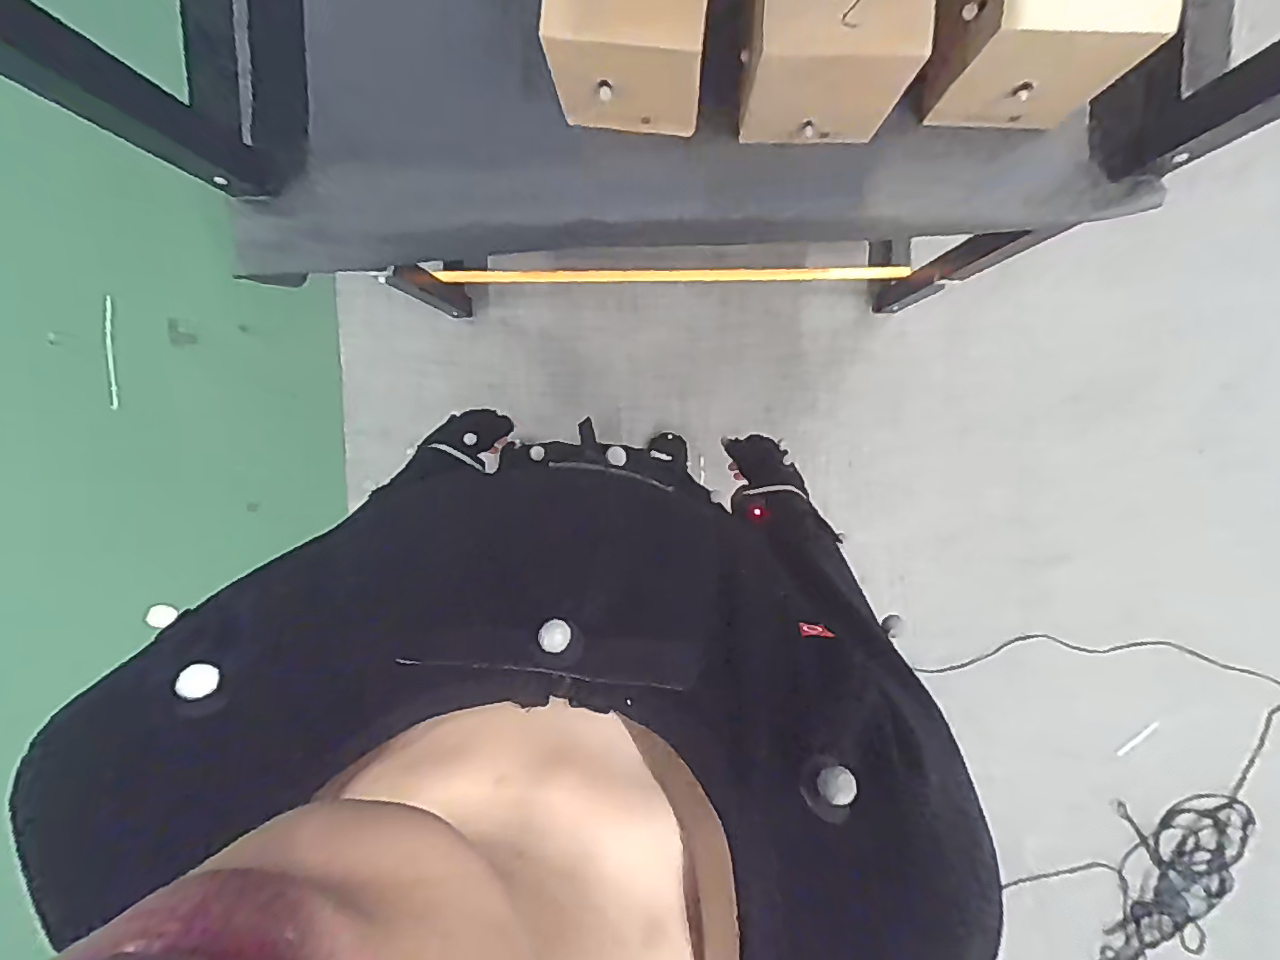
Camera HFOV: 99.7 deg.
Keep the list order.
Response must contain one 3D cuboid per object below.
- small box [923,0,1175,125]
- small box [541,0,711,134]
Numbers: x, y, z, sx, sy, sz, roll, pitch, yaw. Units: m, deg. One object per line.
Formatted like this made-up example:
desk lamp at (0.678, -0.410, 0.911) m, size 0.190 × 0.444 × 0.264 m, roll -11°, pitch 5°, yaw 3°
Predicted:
small box at (0.435, -0.523, 0.592) m, size 0.168 × 0.176 × 0.179 m, roll 3°, pitch 95°, yaw 2°
small box at (-0.006, -0.529, 0.615) m, size 0.168 × 0.176 × 0.179 m, roll 7°, pitch 96°, yaw 2°
